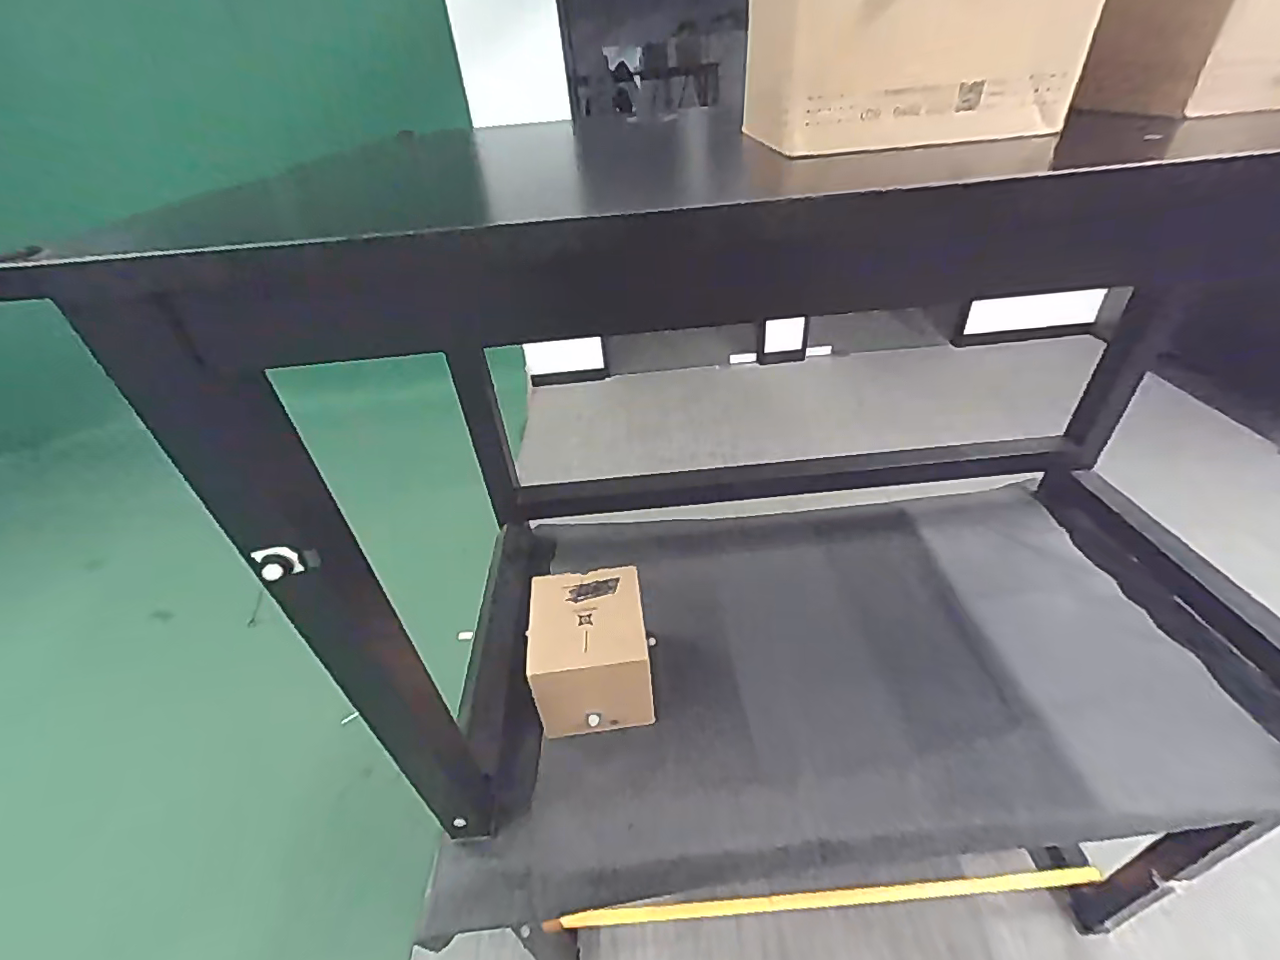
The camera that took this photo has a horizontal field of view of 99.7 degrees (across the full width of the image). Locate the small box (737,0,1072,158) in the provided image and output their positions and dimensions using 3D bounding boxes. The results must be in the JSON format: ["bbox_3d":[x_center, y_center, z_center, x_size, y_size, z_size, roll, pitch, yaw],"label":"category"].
[{"bbox_3d":[0.156,-0.316,0.349,0.168,0.176,0.179,-4,37,3],"label":"small box"}]

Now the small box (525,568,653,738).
[{"bbox_3d":[-0.073,0.262,0.828,0.168,0.176,0.179,-7,37,-2],"label":"small box"}]
